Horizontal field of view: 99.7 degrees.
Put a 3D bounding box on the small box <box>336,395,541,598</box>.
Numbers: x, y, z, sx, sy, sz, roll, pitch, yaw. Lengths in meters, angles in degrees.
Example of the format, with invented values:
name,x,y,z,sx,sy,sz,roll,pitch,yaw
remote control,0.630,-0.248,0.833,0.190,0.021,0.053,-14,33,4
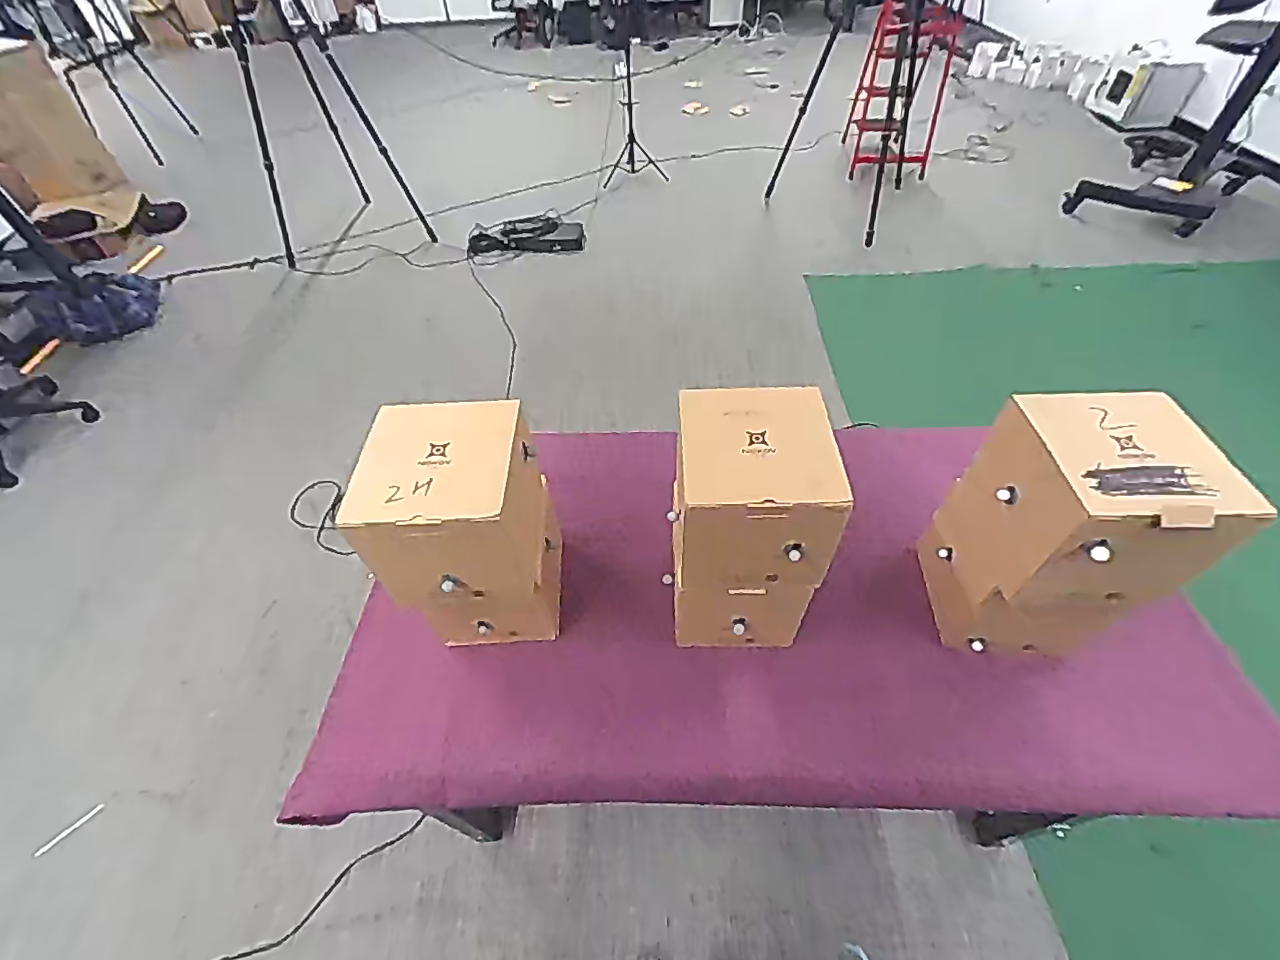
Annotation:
name,x,y,z,sx,sy,sz,roll,pitch,yaw
small box,-0.215,0.021,0.638,0.168,0.176,0.179,-3,51,0

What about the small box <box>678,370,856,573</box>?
name,x,y,z,sx,sy,sz,roll,pitch,yaw
small box,0.128,-0.004,0.623,0.168,0.176,0.179,-1,50,2

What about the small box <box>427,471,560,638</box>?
name,x,y,z,sx,sy,sz,roll,pitch,yaw
small box,-0.209,0.108,0.780,0.168,0.176,0.179,-4,51,-1

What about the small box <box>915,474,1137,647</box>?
name,x,y,z,sx,sy,sz,roll,pitch,yaw
small box,0.505,0.113,0.743,0.168,0.176,0.179,3,49,5

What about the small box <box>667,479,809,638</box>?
name,x,y,z,sx,sy,sz,roll,pitch,yaw
small box,0.127,0.112,0.764,0.168,0.176,0.179,-4,49,1
